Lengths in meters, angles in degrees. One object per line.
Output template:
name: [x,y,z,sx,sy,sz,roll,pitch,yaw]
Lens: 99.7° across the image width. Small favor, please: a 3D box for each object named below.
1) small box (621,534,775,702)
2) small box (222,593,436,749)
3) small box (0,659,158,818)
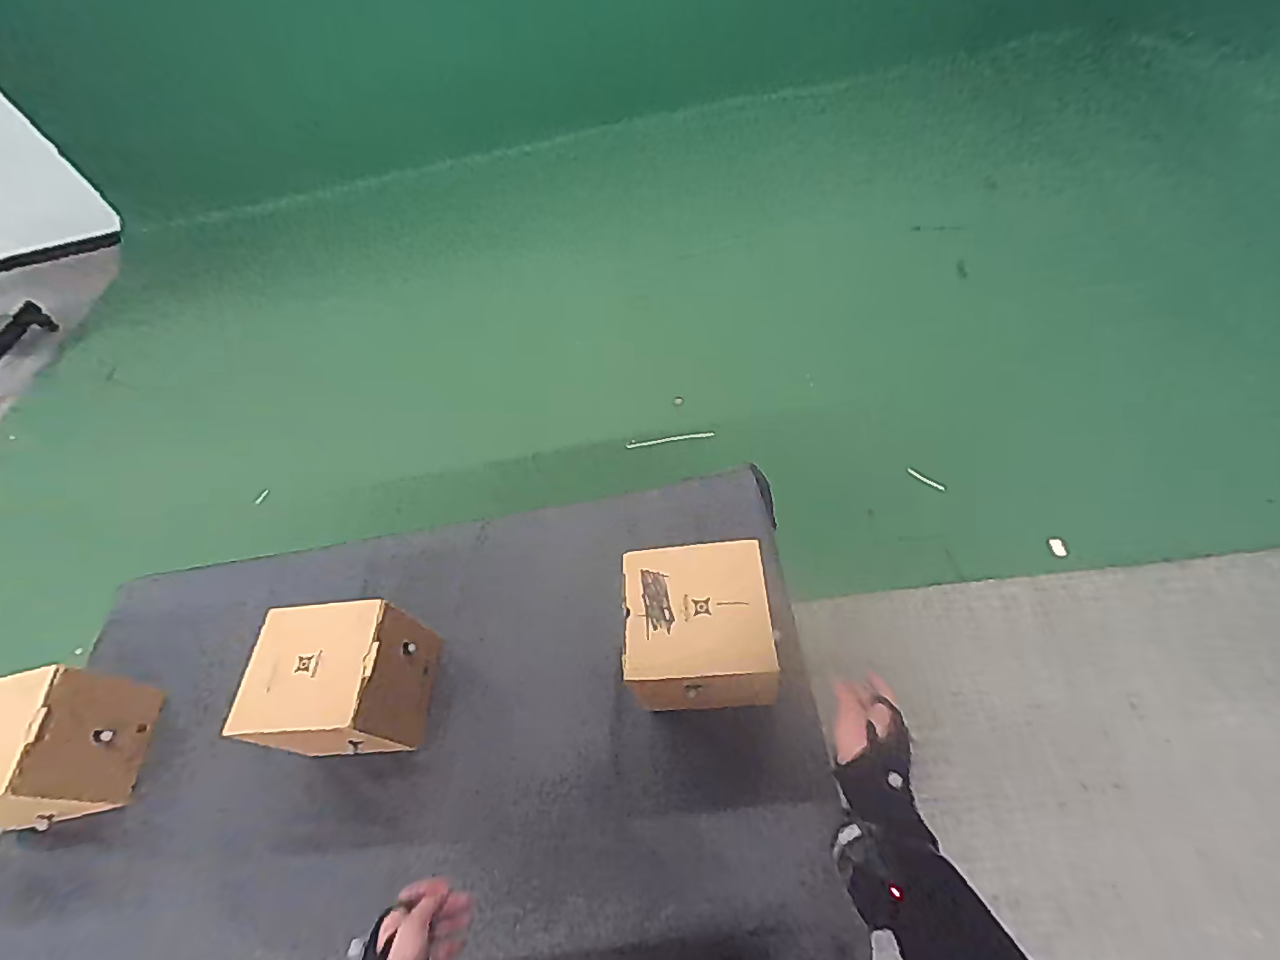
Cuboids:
small box: [0.077,0.188,0.710,0.179,0.176,0.168,-5,56,7]
small box: [-0.415,0.273,0.760,0.179,0.176,0.168,-8,54,8]
small box: [-0.865,0.377,0.780,0.179,0.176,0.168,-13,55,2]
